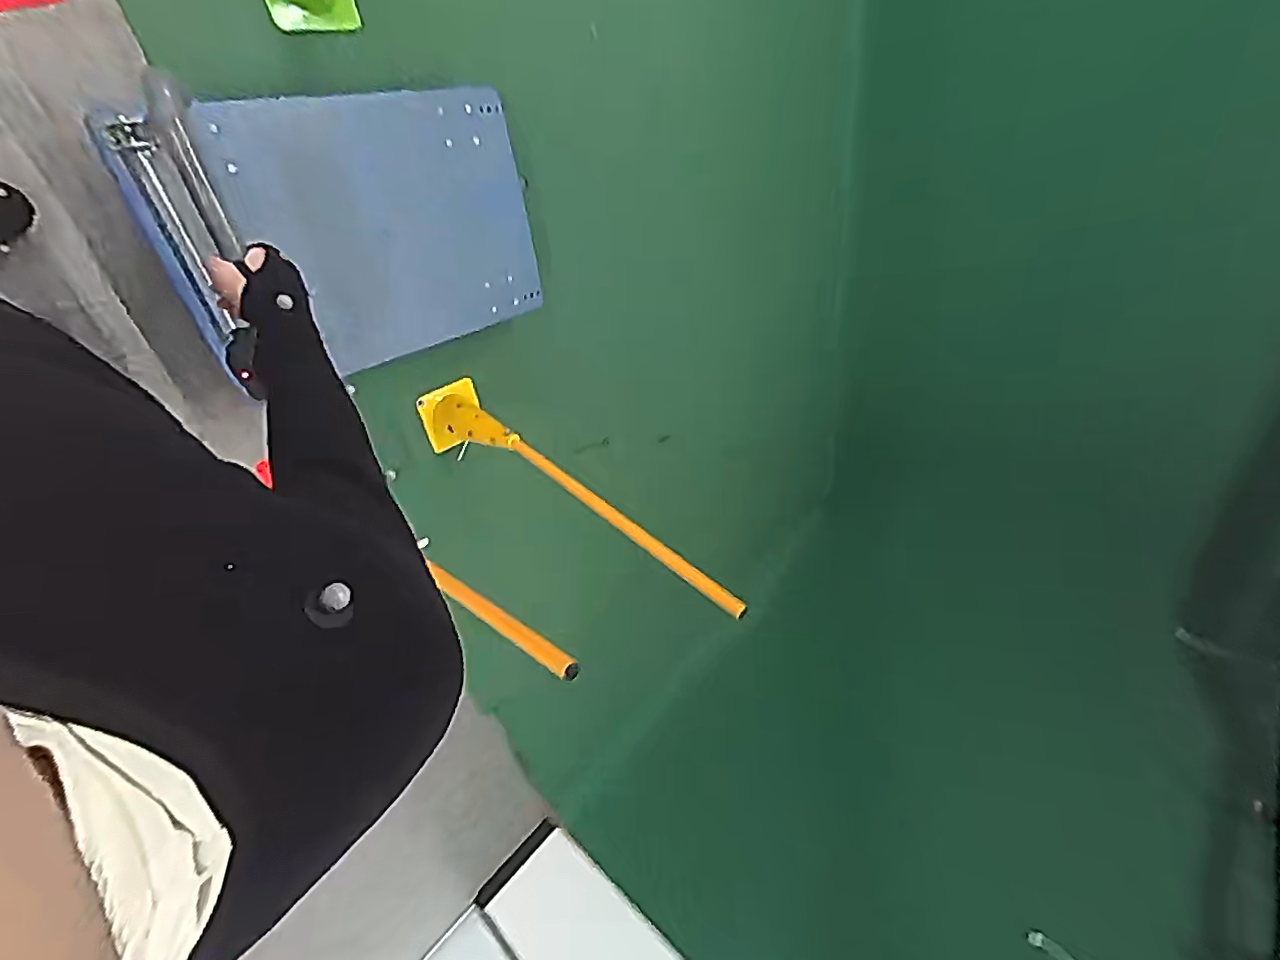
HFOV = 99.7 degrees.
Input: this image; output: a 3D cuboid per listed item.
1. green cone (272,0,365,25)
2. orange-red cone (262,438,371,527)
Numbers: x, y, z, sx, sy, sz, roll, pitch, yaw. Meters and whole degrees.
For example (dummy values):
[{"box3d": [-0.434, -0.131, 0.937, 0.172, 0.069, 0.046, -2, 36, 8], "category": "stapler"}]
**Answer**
[{"box3d": [-0.618, -1.090, 1.088, 0.202, 0.368, 0.200, -36, 130, -34], "category": "green cone"}, {"box3d": [-0.790, 0.045, 1.403, 0.199, 0.360, 0.198, -36, 131, -35], "category": "orange-red cone"}]
